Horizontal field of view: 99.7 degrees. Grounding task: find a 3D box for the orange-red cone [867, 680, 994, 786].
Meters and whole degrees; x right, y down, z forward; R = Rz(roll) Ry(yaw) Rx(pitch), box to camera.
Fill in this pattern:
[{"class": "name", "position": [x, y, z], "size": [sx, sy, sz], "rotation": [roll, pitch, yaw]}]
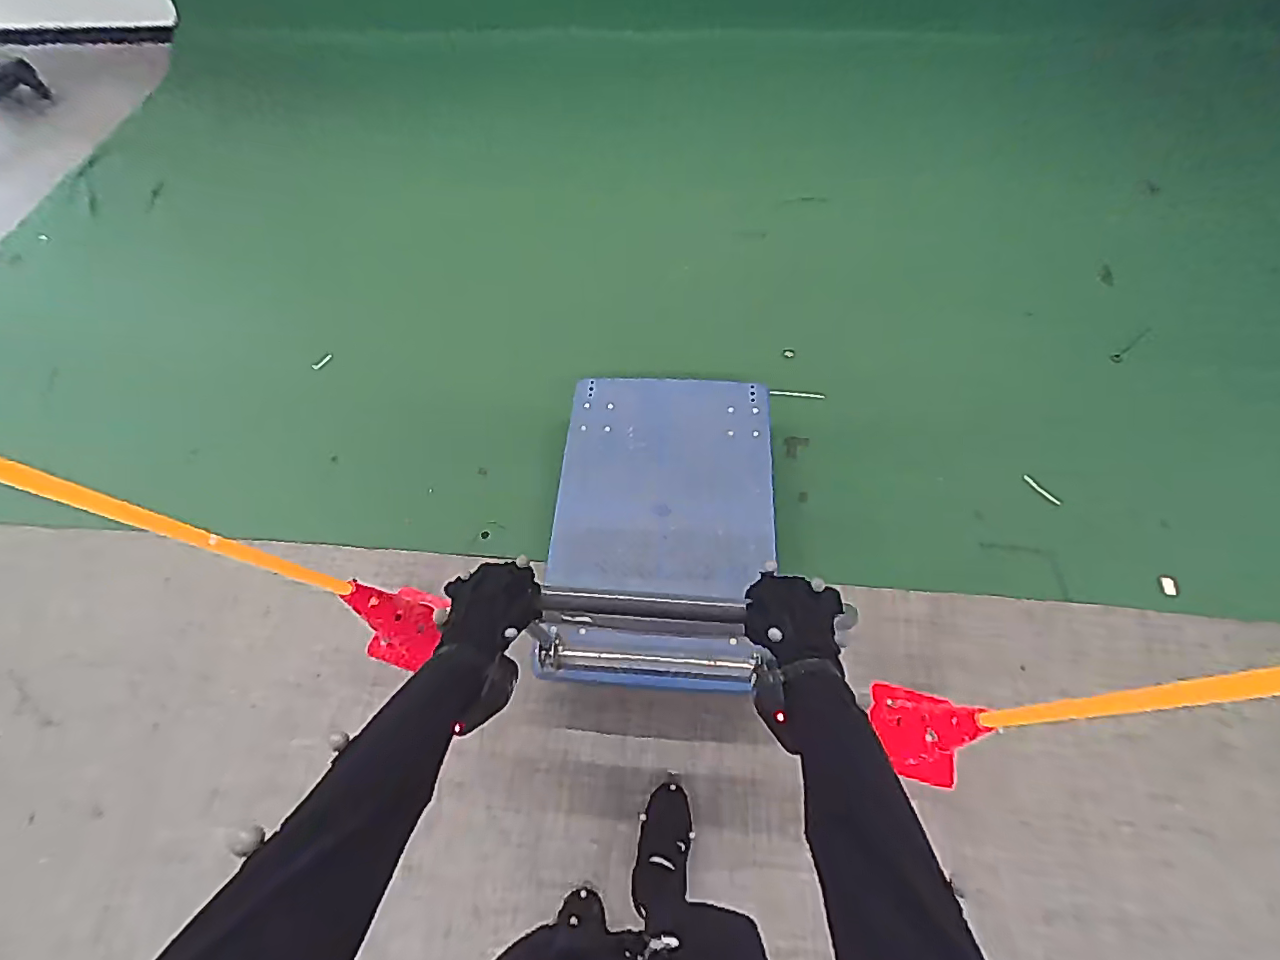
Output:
[{"class": "orange-red cone", "position": [0.640, 0.518, 1.140], "size": [0.198, 0.360, 0.199], "rotation": [13, 64, 11]}]
